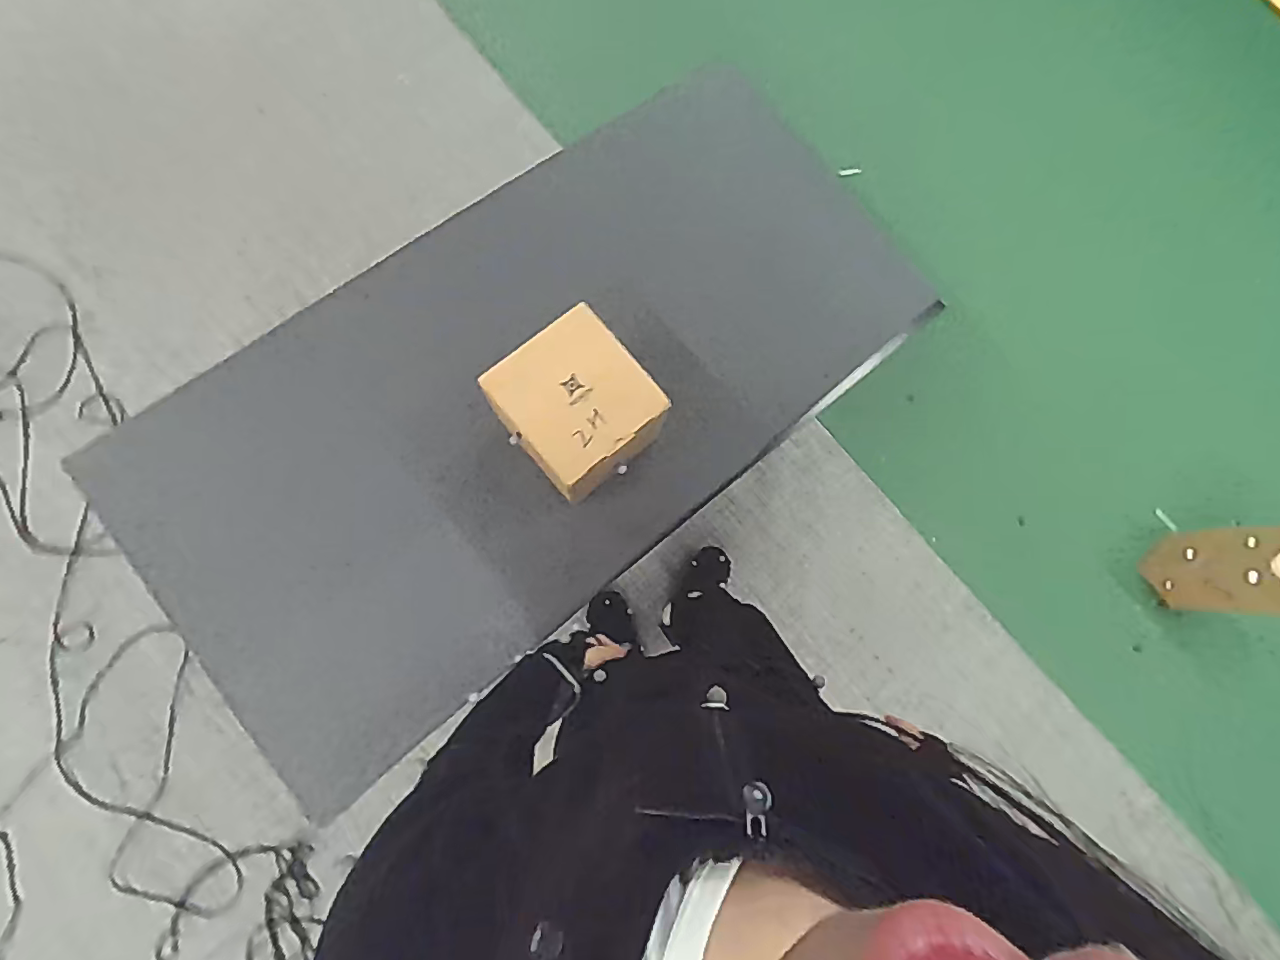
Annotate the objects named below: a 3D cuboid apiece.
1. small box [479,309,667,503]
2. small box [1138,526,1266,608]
[{"bbox_3d":[-0.088,-0.088,0.739,0.168,0.176,0.179,-40,85,-10],"label":"small box"},{"bbox_3d":[1.644,0.255,1.593,0.179,0.176,0.168,-38,85,-10],"label":"small box"}]
